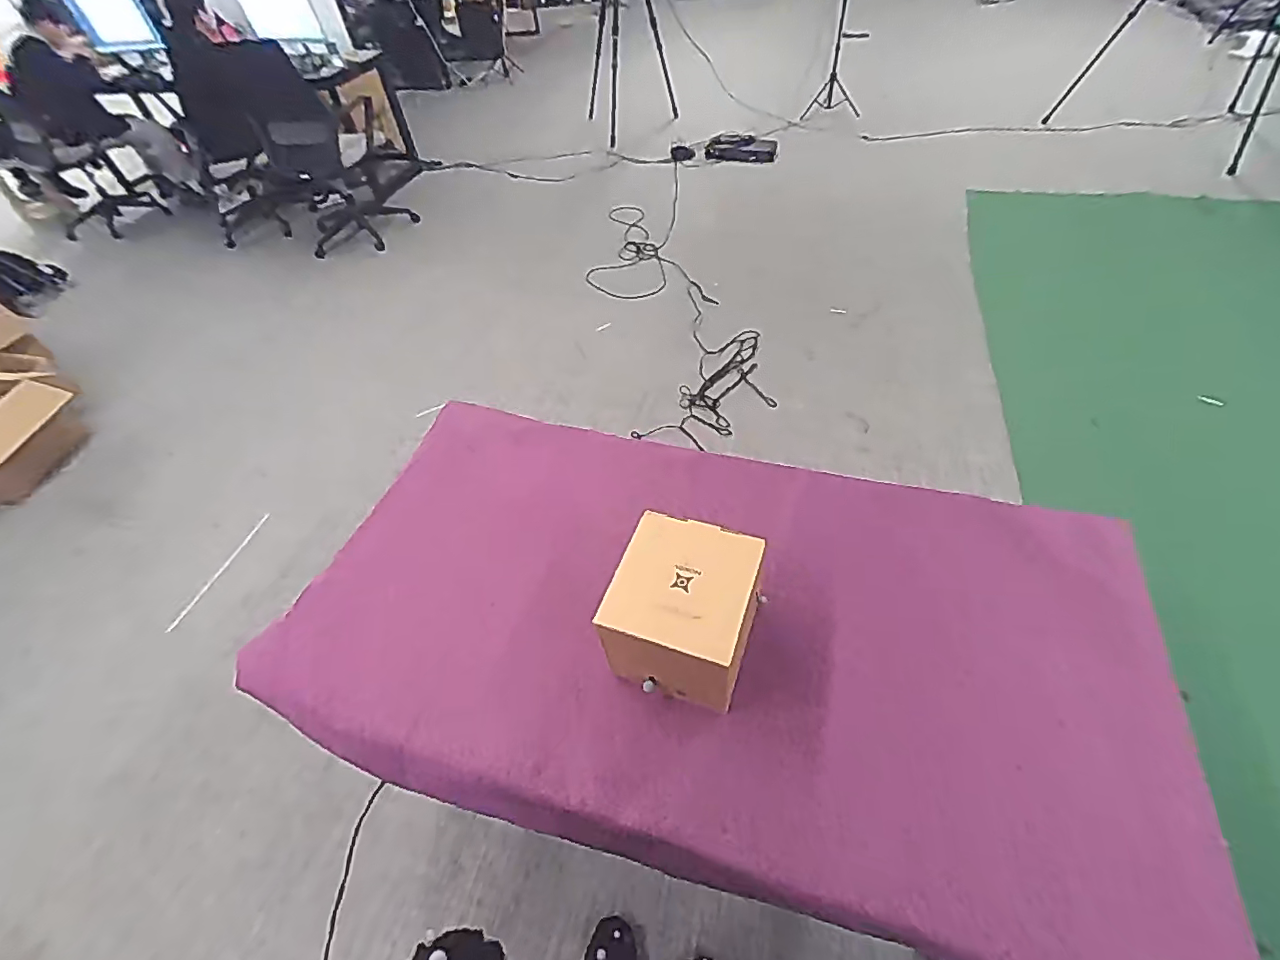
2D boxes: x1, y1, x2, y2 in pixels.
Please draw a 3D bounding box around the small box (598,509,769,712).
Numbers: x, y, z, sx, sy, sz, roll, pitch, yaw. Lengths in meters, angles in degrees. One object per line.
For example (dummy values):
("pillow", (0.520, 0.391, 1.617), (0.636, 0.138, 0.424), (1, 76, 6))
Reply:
("small box", (0.063, 0.171, 0.709), (0.168, 0.176, 0.179), (13, 53, 18))
